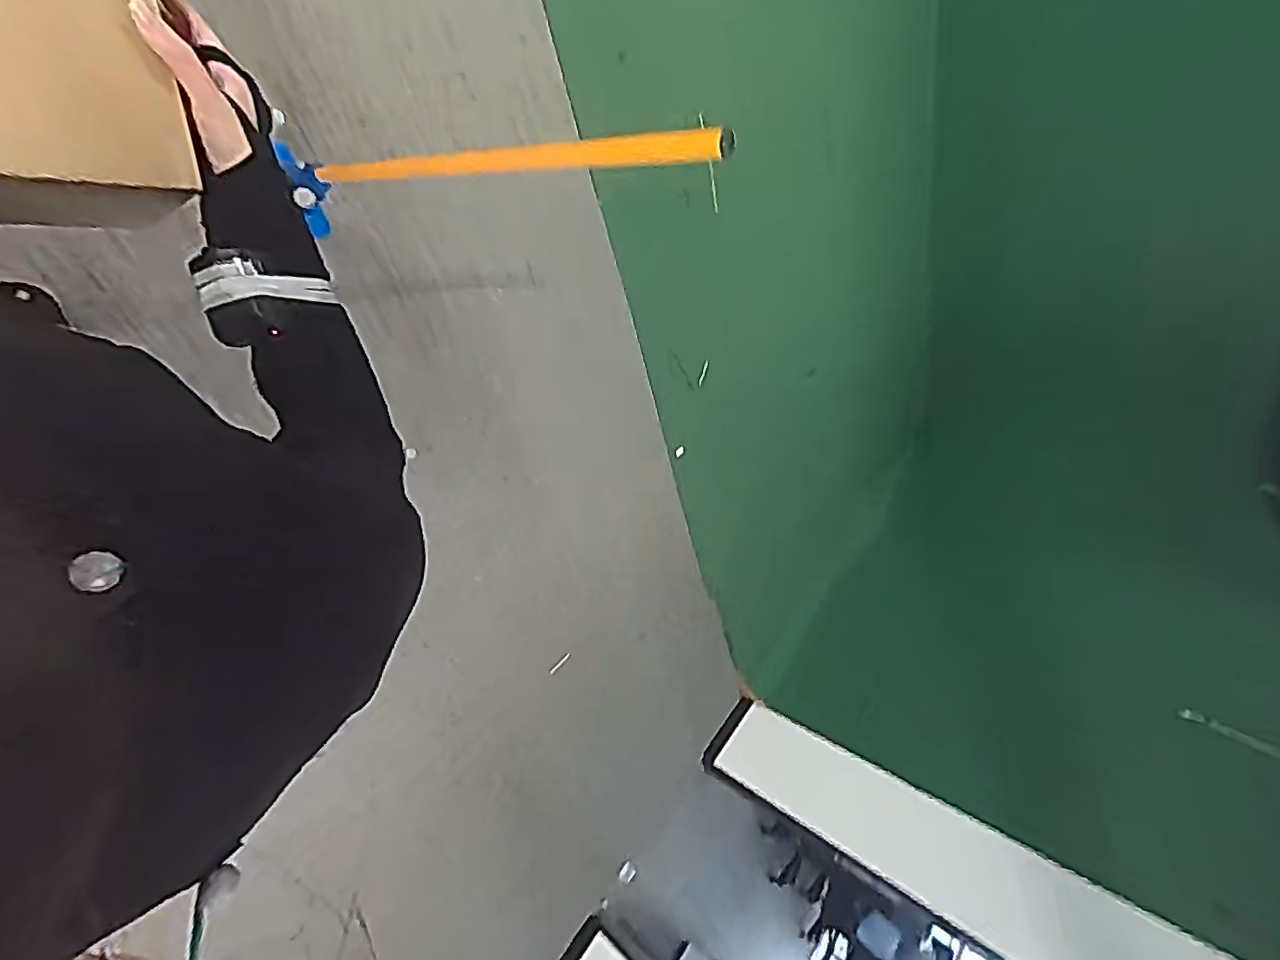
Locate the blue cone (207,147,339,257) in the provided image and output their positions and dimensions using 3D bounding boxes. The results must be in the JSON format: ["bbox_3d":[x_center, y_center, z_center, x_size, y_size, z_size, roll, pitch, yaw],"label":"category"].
[{"bbox_3d":[-0.689,-0.582,1.094,0.192,0.380,0.193,-43,131,-30],"label":"blue cone"}]
